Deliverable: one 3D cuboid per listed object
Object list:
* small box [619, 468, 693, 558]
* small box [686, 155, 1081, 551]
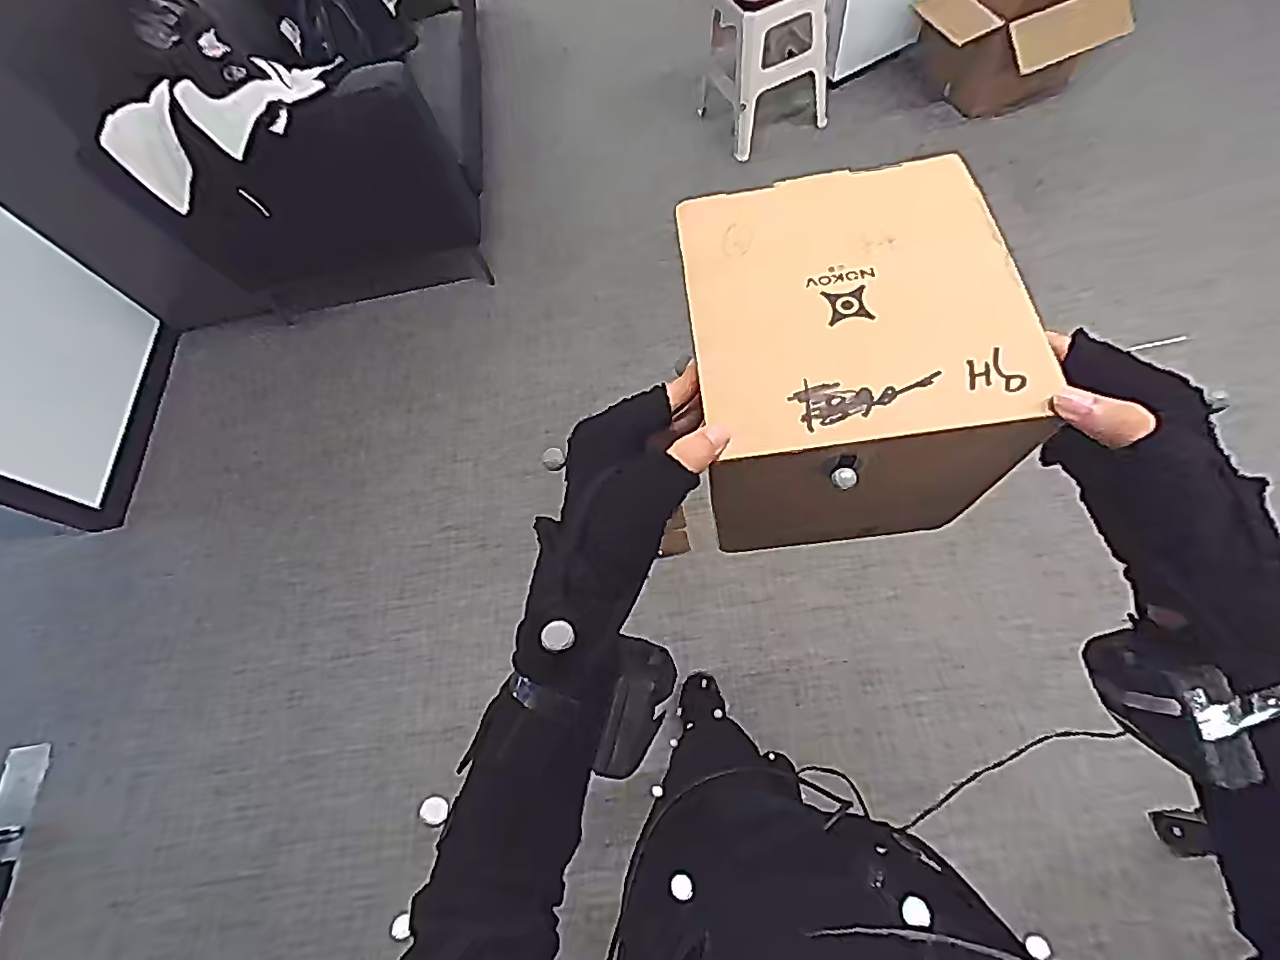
[{"bbox_3d":[0.044,0.091,1.426,0.168,0.176,0.179,-10,65,6],"label":"small box"},{"bbox_3d":[0.123,-0.067,0.355,0.168,0.176,0.179,-8,66,7],"label":"small box"}]
